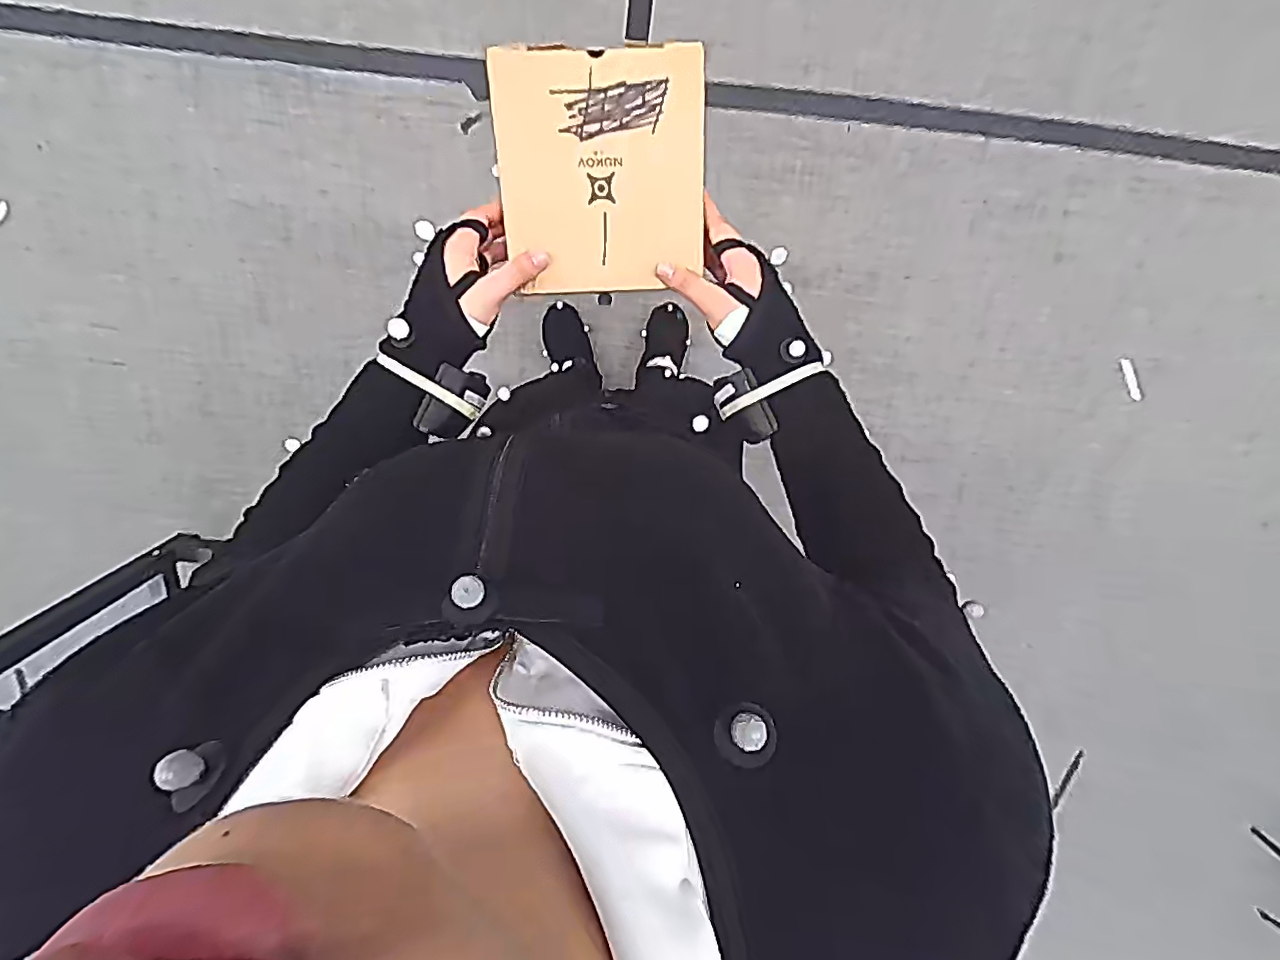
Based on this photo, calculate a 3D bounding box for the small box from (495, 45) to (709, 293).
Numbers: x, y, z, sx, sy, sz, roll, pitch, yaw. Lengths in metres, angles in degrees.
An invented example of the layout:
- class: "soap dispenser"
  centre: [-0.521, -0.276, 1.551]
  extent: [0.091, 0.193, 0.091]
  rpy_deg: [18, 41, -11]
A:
- class: "small box"
  centre: [-0.032, -0.271, 0.510]
  extent: [0.168, 0.176, 0.179]
  rpy_deg: [-2, 110, -2]
